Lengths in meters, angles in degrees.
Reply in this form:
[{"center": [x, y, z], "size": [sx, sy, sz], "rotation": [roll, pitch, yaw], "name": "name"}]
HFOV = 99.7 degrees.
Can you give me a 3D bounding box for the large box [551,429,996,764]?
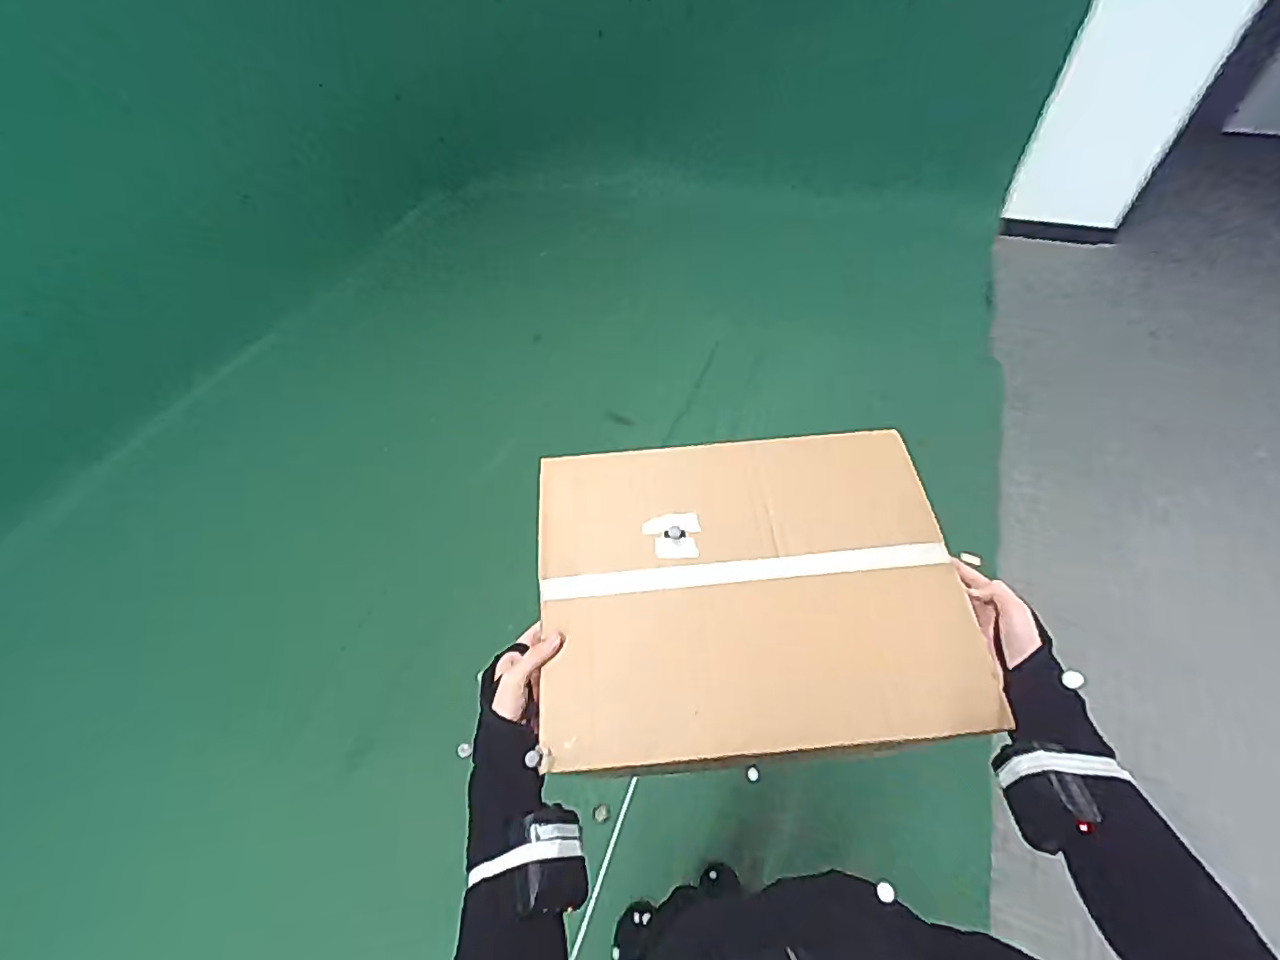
[{"center": [0.116, 0.164, 0.678], "size": [0.408, 0.320, 0.320], "rotation": [-5, 60, 0], "name": "large box"}]
